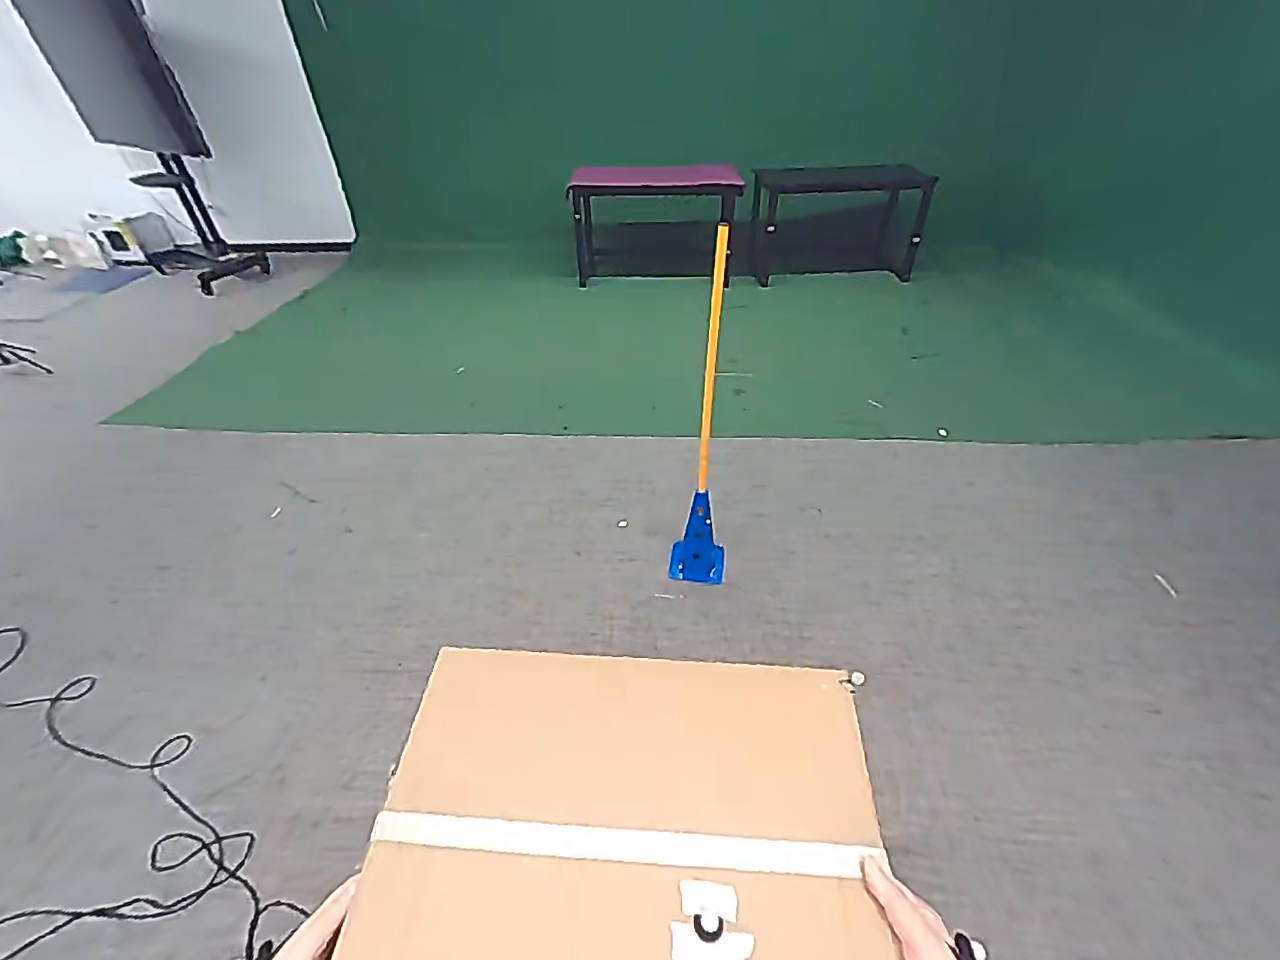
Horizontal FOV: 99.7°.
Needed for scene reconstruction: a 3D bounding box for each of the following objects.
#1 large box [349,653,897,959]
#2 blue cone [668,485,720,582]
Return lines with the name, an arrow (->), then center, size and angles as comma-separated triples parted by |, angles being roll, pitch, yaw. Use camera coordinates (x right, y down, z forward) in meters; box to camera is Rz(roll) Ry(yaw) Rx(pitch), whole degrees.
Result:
large box -> -0.008, 0.397, 0.547 | 0.408, 0.320, 0.320 | 2, 46, 3
blue cone -> 0.205, 0.181, 1.956 | 0.193, 0.380, 0.192 | 7, 39, 9
